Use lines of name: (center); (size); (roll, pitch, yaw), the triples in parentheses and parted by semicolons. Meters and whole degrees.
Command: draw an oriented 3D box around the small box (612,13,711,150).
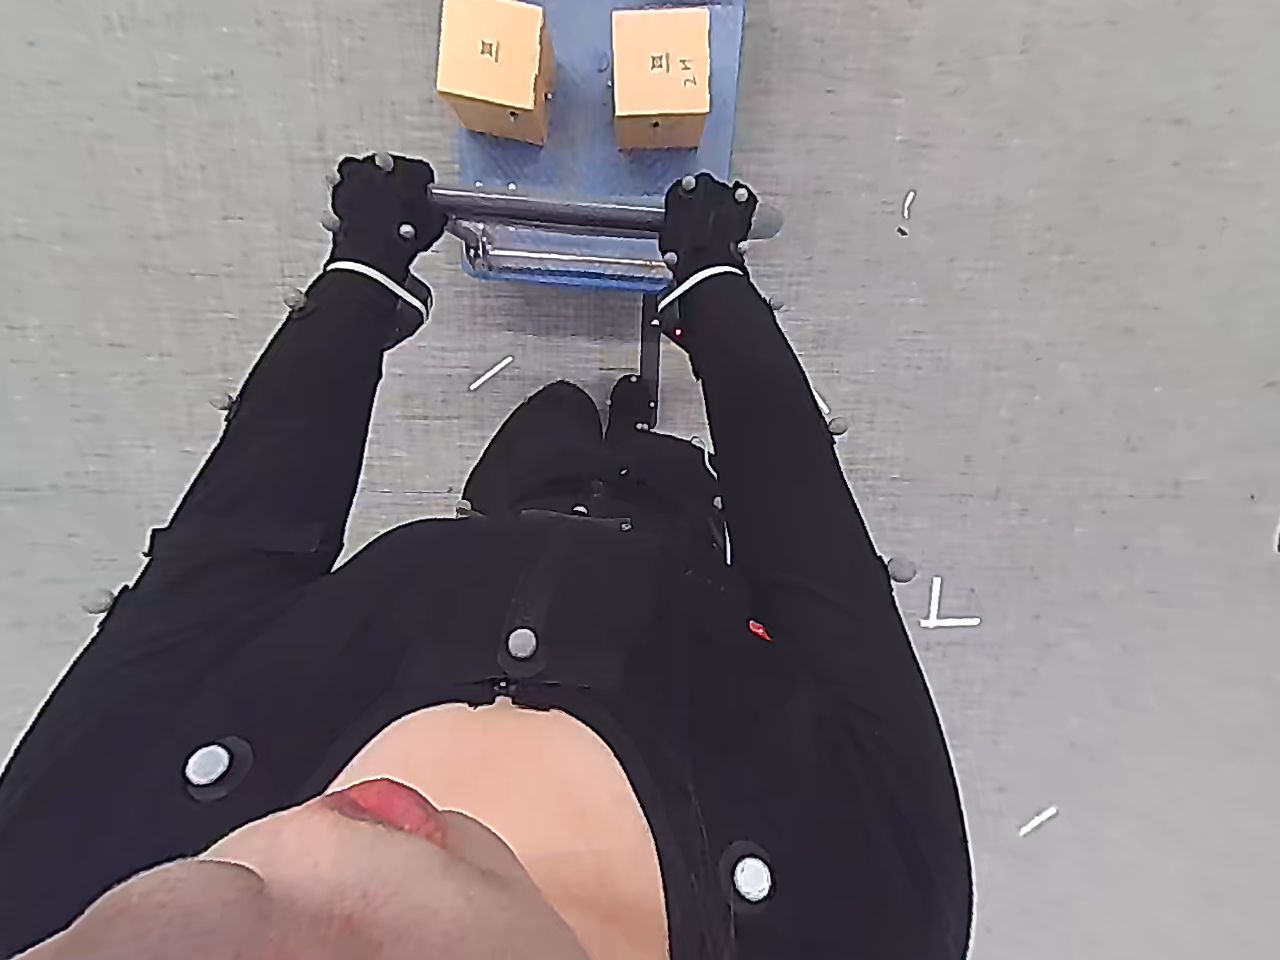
small box: (0.040, -0.763, 1.053); (0.179, 0.176, 0.168); (-2, 104, -1)

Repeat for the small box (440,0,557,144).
small box: (-0.265, -0.780, 1.043); (0.179, 0.176, 0.168); (9, 103, -5)
